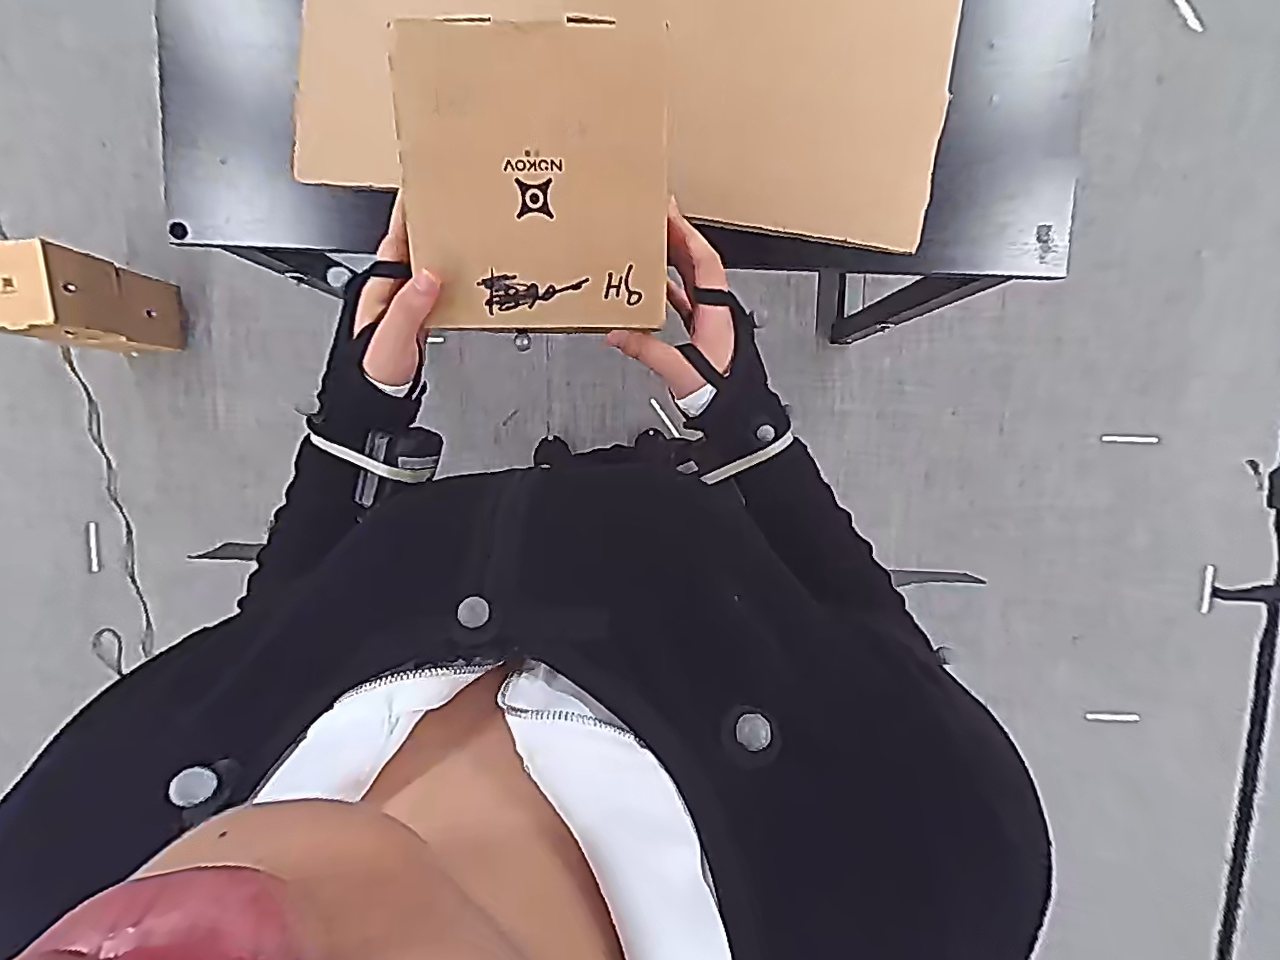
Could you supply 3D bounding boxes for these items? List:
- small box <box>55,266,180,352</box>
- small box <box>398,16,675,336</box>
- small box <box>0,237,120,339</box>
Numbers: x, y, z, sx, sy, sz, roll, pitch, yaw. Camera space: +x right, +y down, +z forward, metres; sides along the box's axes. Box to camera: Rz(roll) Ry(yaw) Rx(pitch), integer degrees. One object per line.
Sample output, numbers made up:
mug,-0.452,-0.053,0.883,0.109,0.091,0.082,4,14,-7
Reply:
small box,-1.307,-0.422,1.353,0.168,0.176,0.179,-2,96,0
small box,-0.064,-0.204,0.414,0.168,0.176,0.179,0,104,-1
small box,-1.307,-0.412,1.191,0.168,0.176,0.179,-5,94,-1
